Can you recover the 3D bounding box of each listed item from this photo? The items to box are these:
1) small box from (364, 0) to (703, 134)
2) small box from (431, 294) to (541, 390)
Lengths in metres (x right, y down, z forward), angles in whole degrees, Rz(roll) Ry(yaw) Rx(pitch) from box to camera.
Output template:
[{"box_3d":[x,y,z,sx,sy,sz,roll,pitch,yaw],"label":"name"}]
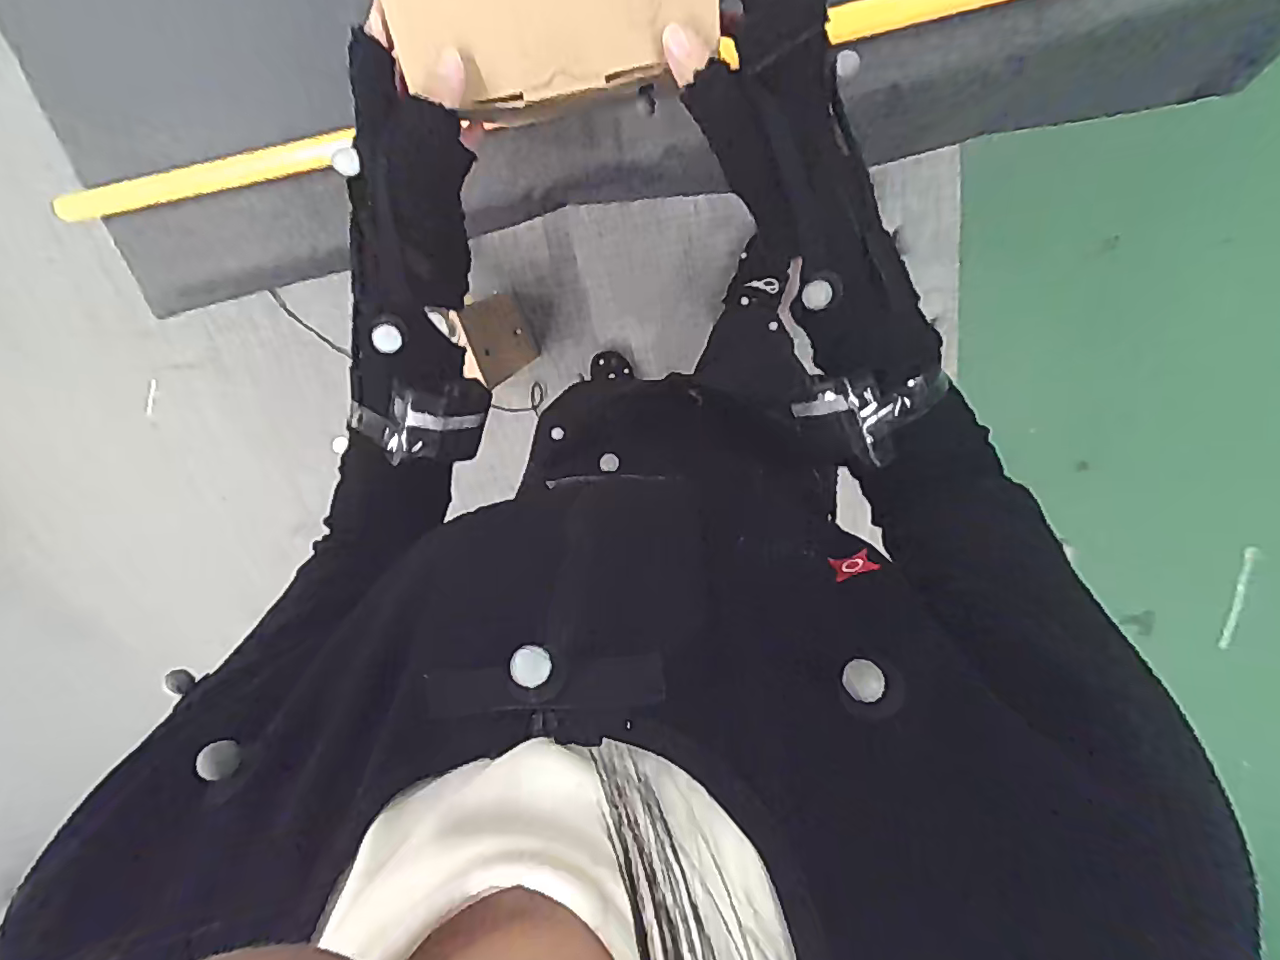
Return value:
[{"box_3d":[-0.053,-0.311,0.306,0.168,0.176,0.179,-6,120,9],"label":"small box"},{"box_3d":[-0.366,-0.342,1.315,0.168,0.176,0.179,-14,112,16],"label":"small box"}]
